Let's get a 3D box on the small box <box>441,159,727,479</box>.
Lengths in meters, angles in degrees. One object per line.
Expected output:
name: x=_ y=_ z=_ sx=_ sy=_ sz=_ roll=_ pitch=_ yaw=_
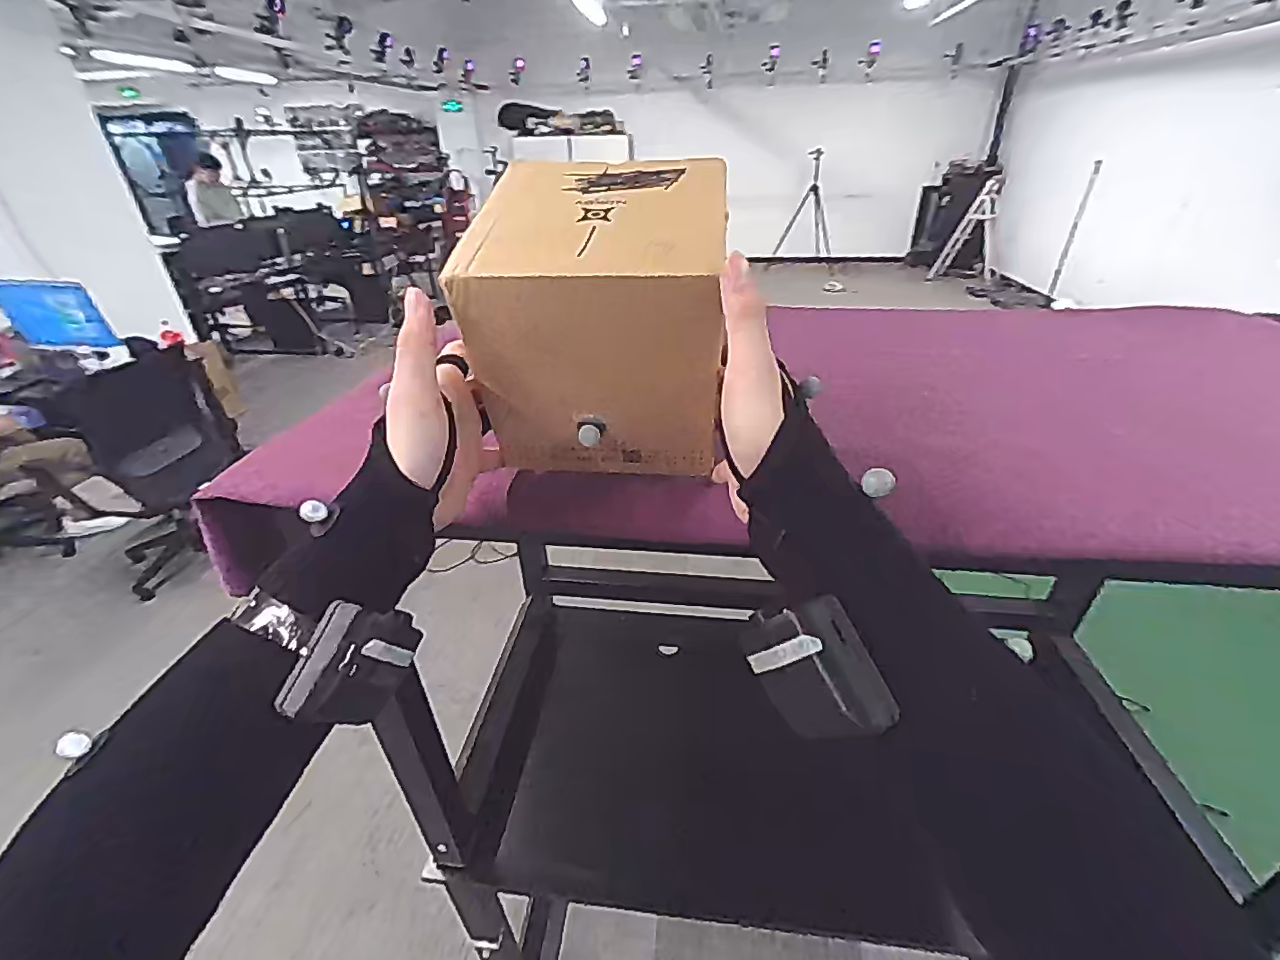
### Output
small box: x=-0.022 y=-0.123 z=0.416 sx=0.168 sy=0.176 sz=0.179 roll=2 pitch=51 yaw=7
